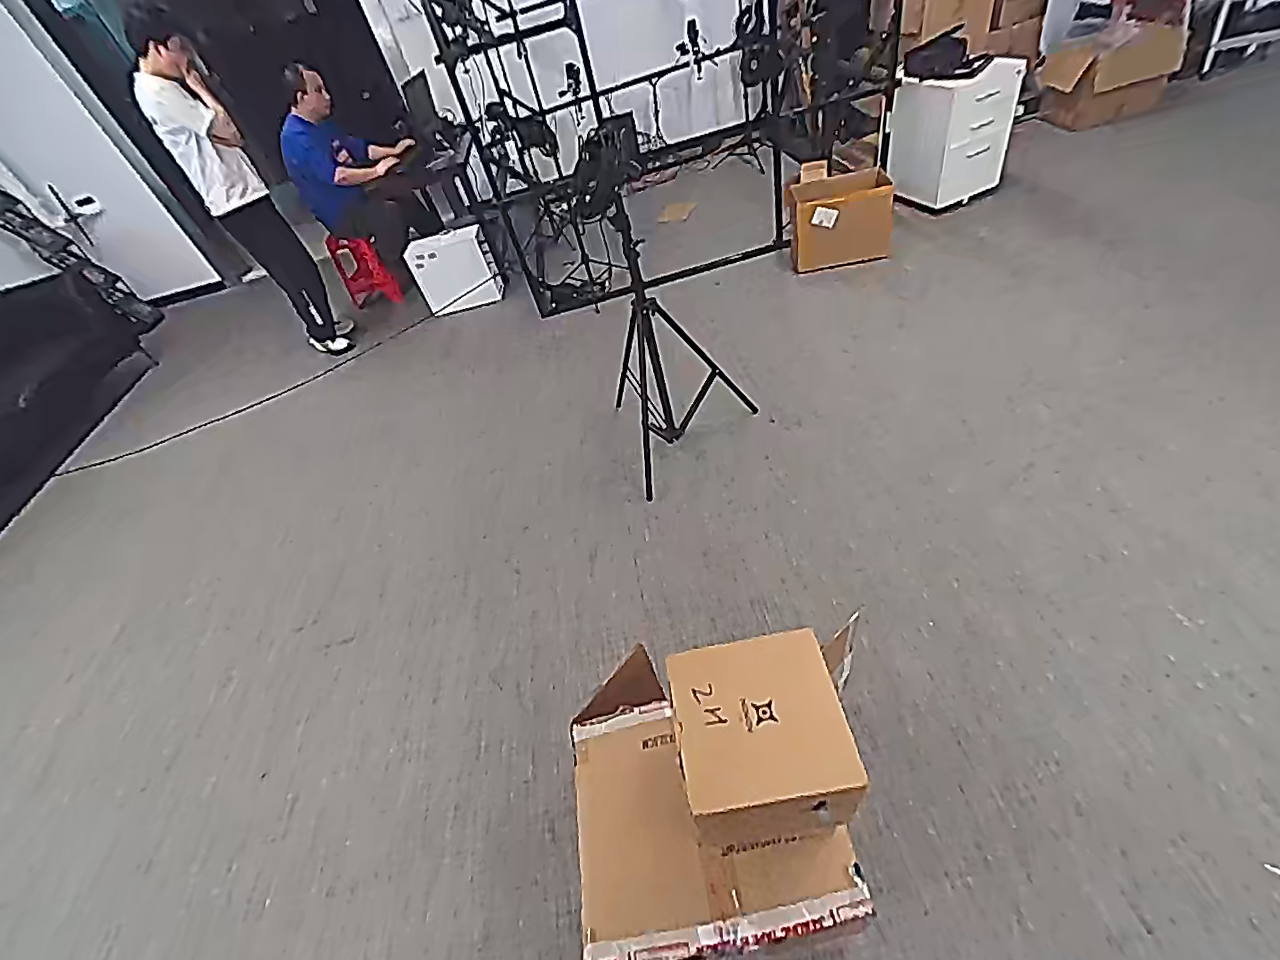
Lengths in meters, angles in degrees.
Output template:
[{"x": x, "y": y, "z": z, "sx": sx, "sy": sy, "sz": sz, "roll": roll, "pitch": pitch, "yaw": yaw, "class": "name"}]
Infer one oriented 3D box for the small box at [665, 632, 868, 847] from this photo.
[{"x": 0.134, "y": 0.299, "z": 0.618, "sx": 0.179, "sy": 0.176, "sz": 0.168, "roll": -12, "pitch": 45, "yaw": 3, "class": "small box"}]
